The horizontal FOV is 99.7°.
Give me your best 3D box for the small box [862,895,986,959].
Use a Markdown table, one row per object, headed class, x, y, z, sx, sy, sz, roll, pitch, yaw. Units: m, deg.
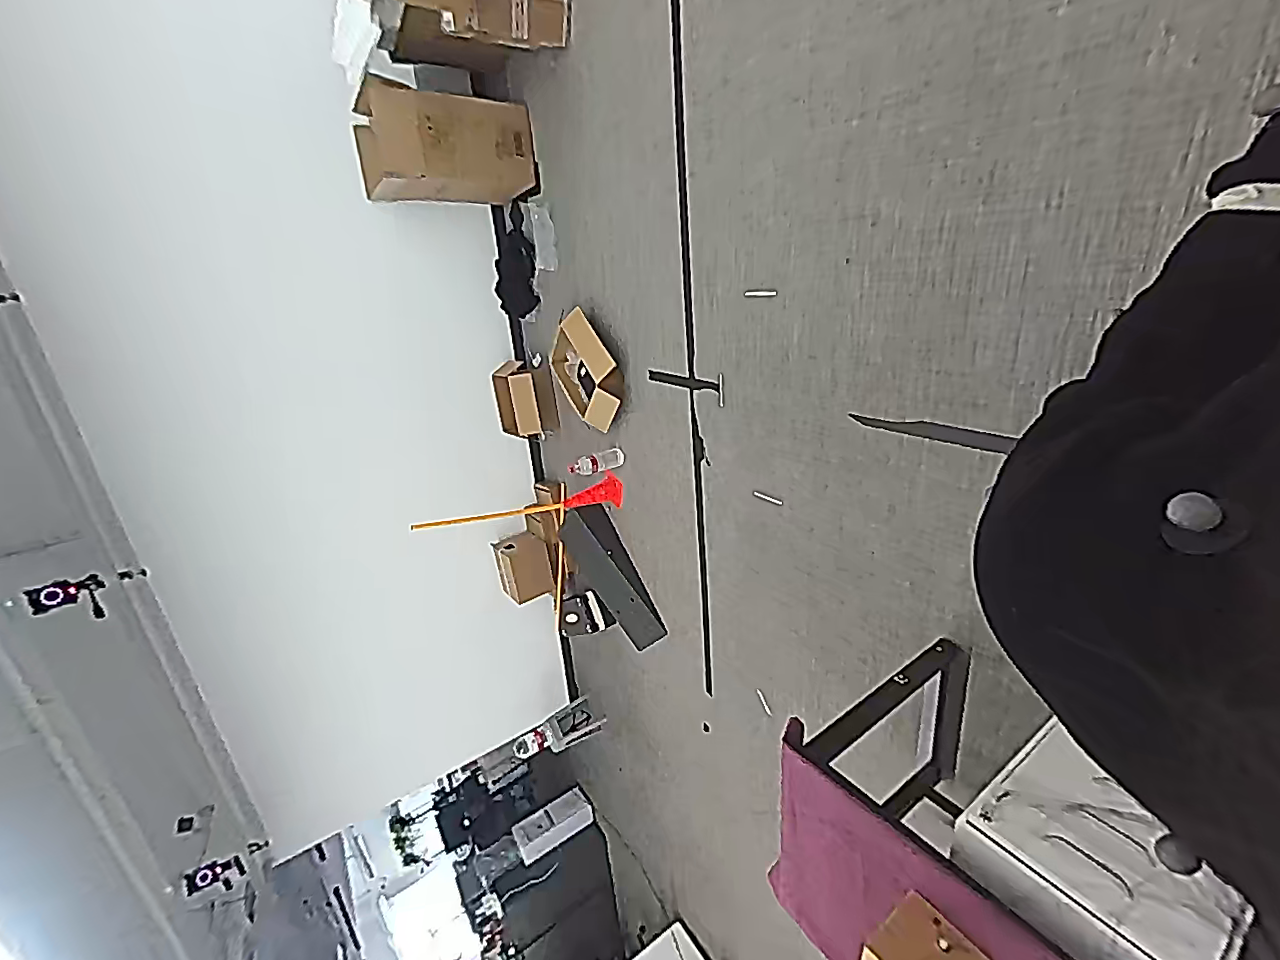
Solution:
| class | x | y | z | sx | sy | sz | roll | pitch | yaw |
| --- | --- | --- | --- | --- | --- | --- | --- | --- | --- |
| small box | 0.543 | 0.962 | 1.035 | 0.168 | 0.176 | 0.179 | 28 | 129 | 50 |
